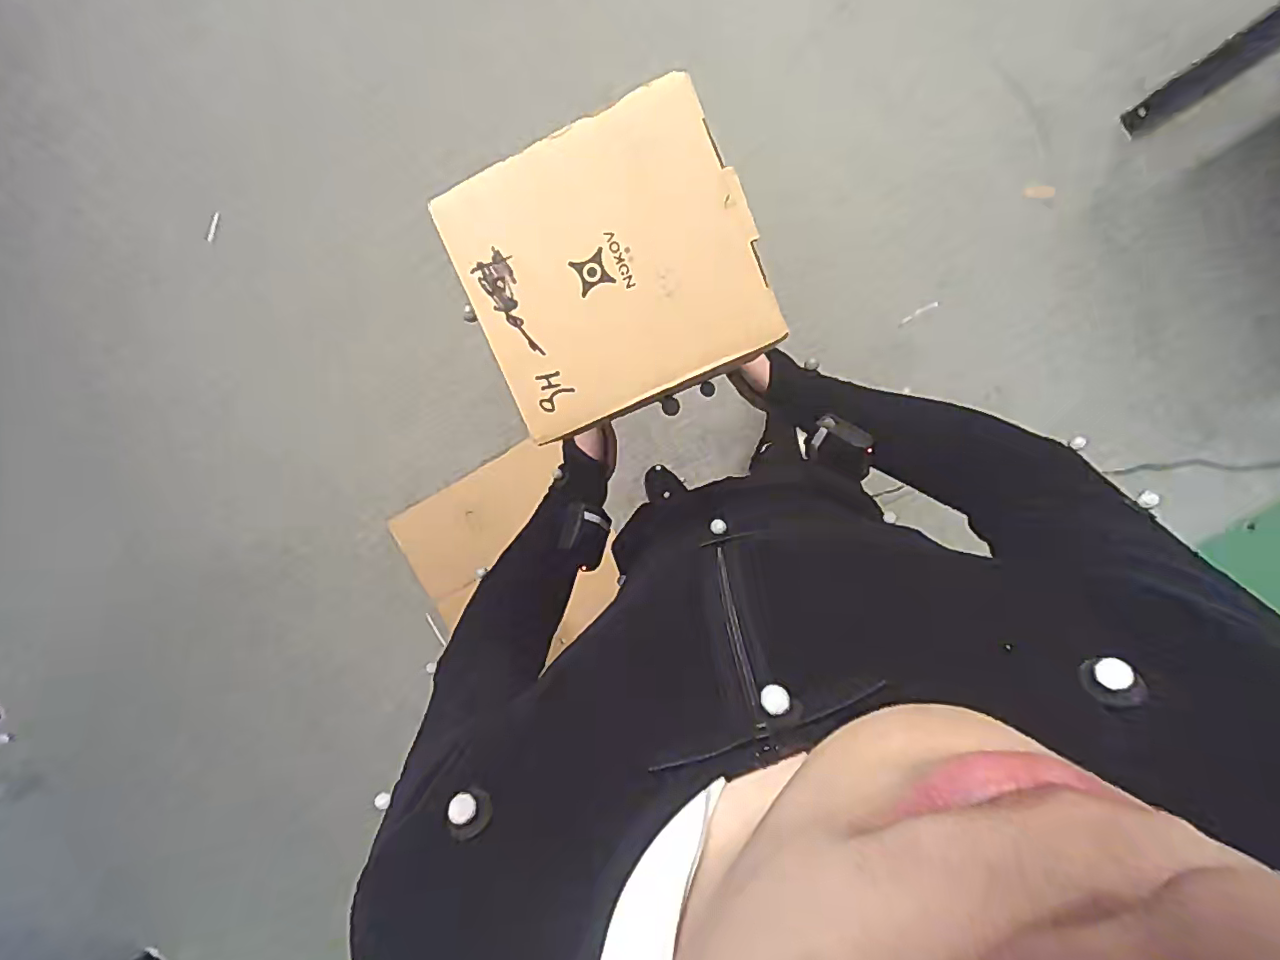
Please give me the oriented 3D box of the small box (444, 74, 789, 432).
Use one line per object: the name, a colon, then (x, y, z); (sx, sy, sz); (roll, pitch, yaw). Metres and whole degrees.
small box: (-0.009, -0.146, 0.414); (0.179, 0.176, 0.168); (-21, 95, 7)
